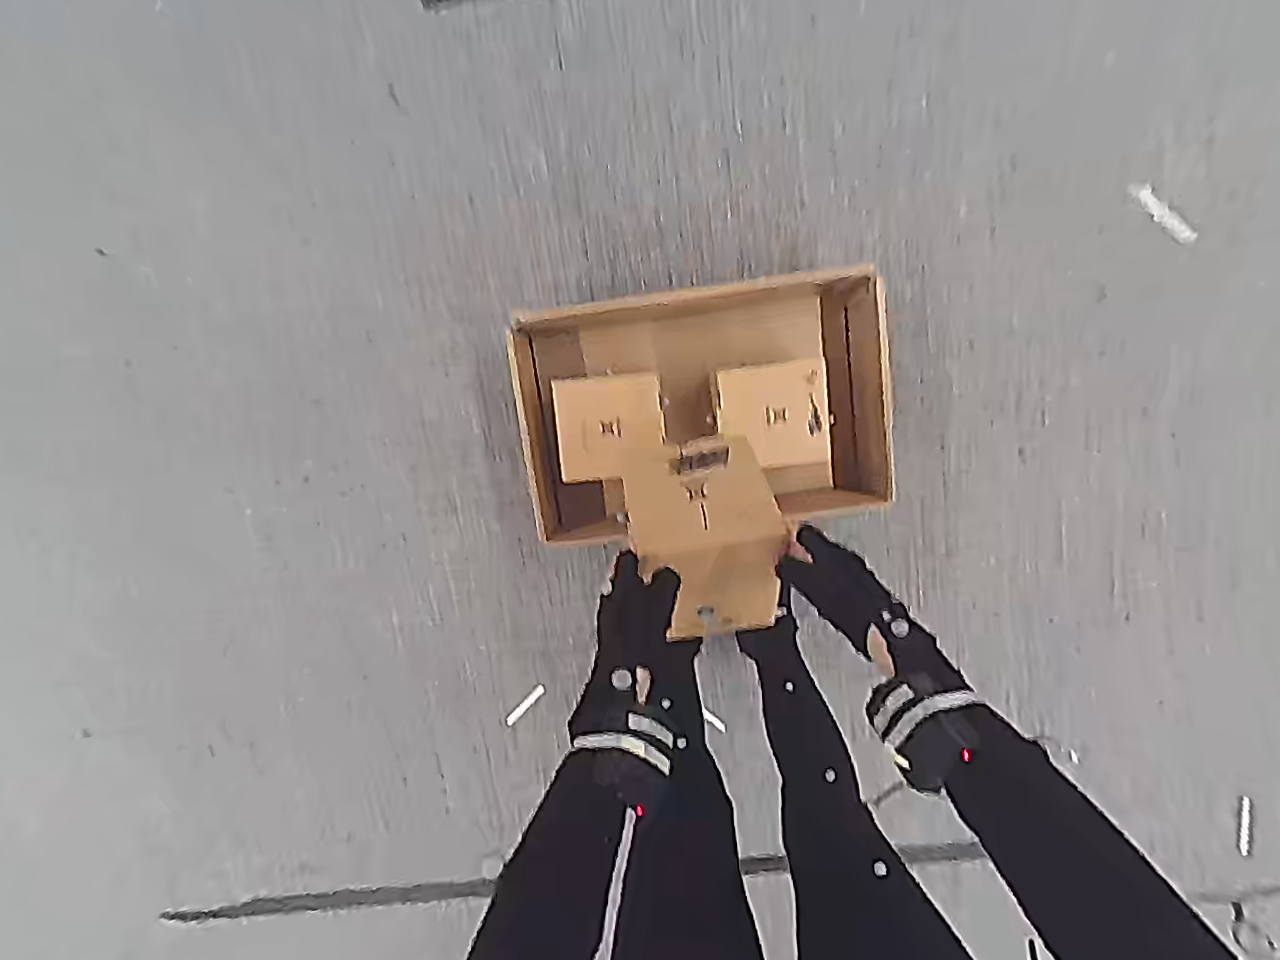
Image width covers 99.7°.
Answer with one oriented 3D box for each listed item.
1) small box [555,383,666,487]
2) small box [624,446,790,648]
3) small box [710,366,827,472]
[{"bbox_3d":[-0.047,-0.085,0.969,0.179,0.176,0.168,-5,98,2],"label":"small box"},{"bbox_3d":[0.071,0.081,0.675,0.168,0.179,0.176,-7,131,-3],"label":"small box"},{"bbox_3d":[0.219,-0.107,0.962,0.179,0.176,0.168,-6,99,4],"label":"small box"}]
